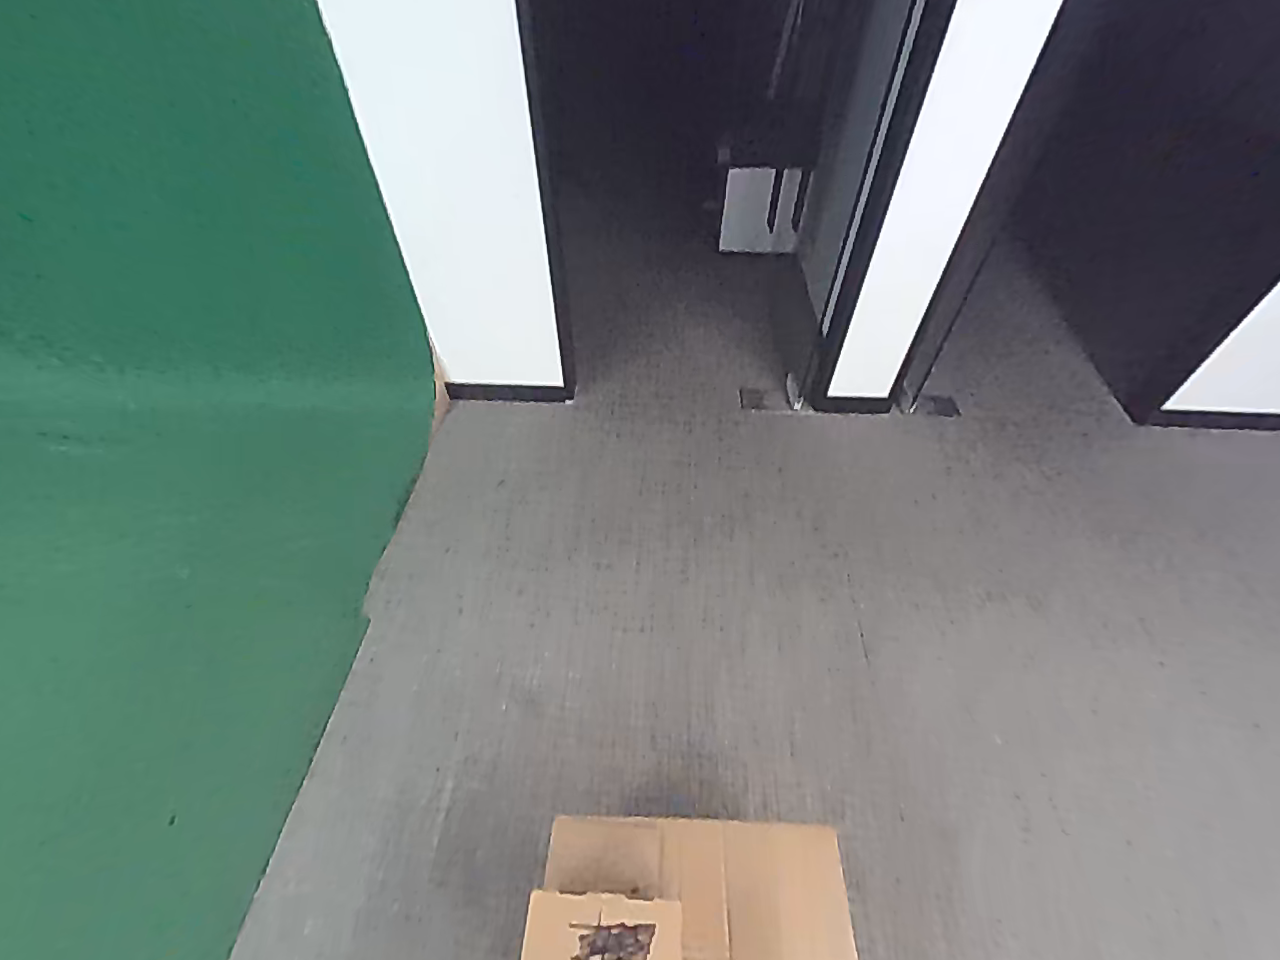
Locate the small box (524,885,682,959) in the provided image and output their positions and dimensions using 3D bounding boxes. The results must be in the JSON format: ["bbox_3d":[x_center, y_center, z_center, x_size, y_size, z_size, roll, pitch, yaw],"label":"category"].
[{"bbox_3d":[-0.044,0.573,0.603,0.168,0.176,0.179,3,51,2],"label":"small box"}]
